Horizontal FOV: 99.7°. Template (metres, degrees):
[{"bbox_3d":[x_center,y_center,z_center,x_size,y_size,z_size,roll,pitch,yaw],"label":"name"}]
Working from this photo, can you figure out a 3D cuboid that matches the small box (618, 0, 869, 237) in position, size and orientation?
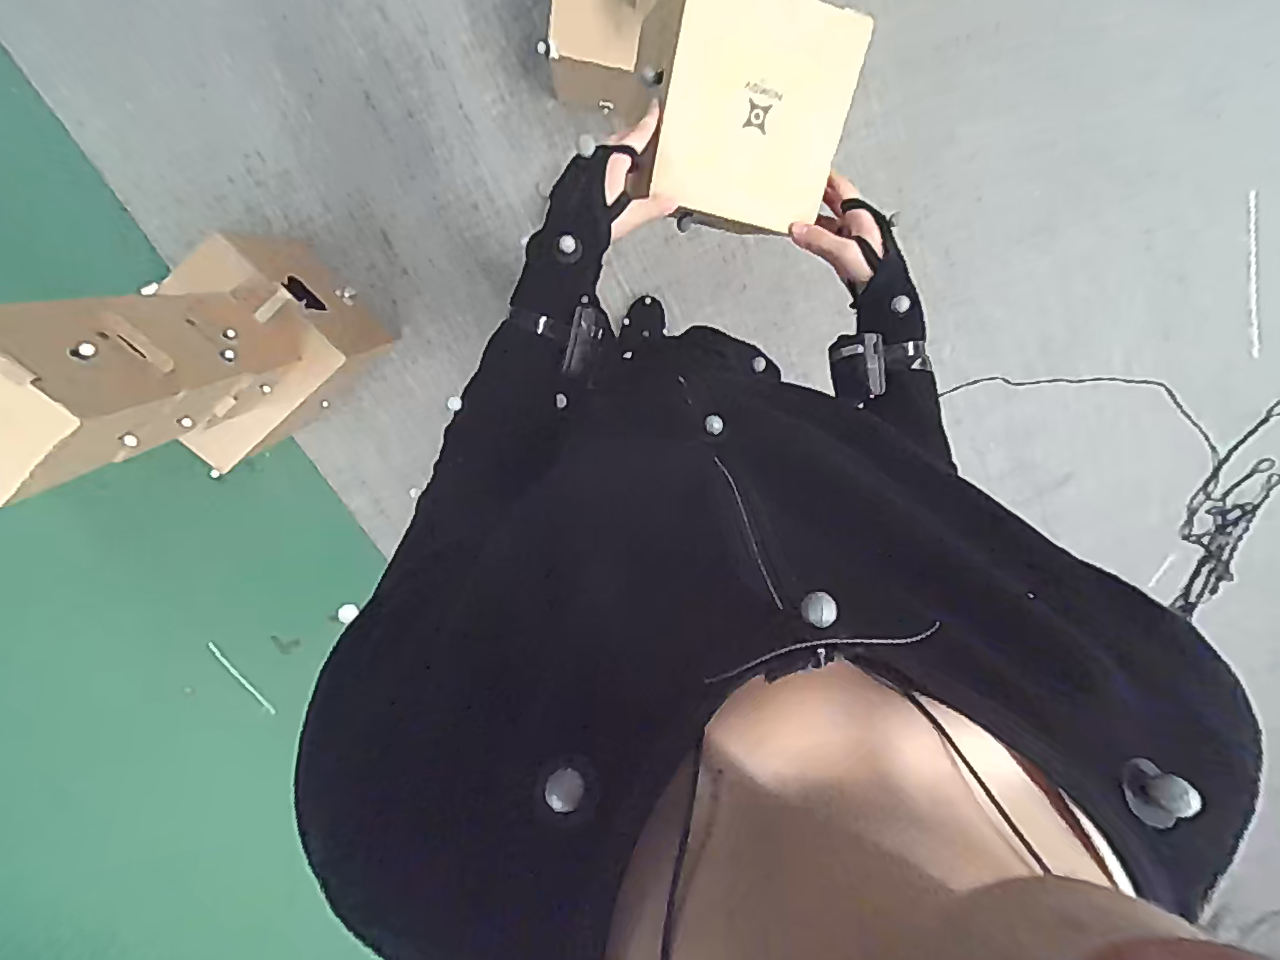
[{"bbox_3d":[0.081,-0.349,0.529,0.168,0.176,0.179,6,111,-16],"label":"small box"}]

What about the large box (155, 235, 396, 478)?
[{"bbox_3d":[-0.846,-0.285,1.218,0.408,0.320,0.320,-37,108,11],"label":"large box"}]

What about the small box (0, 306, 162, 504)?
[{"bbox_3d":[-0.769,-0.101,0.679,0.179,0.176,0.168,-38,109,9],"label":"small box"}]

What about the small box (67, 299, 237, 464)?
[{"bbox_3d":[-0.776,-0.160,0.833,0.179,0.176,0.168,-38,109,10],"label":"small box"}]

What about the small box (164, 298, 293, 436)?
[{"bbox_3d":[-0.788,-0.214,0.987,0.168,0.176,0.179,-37,109,9],"label":"small box"}]
